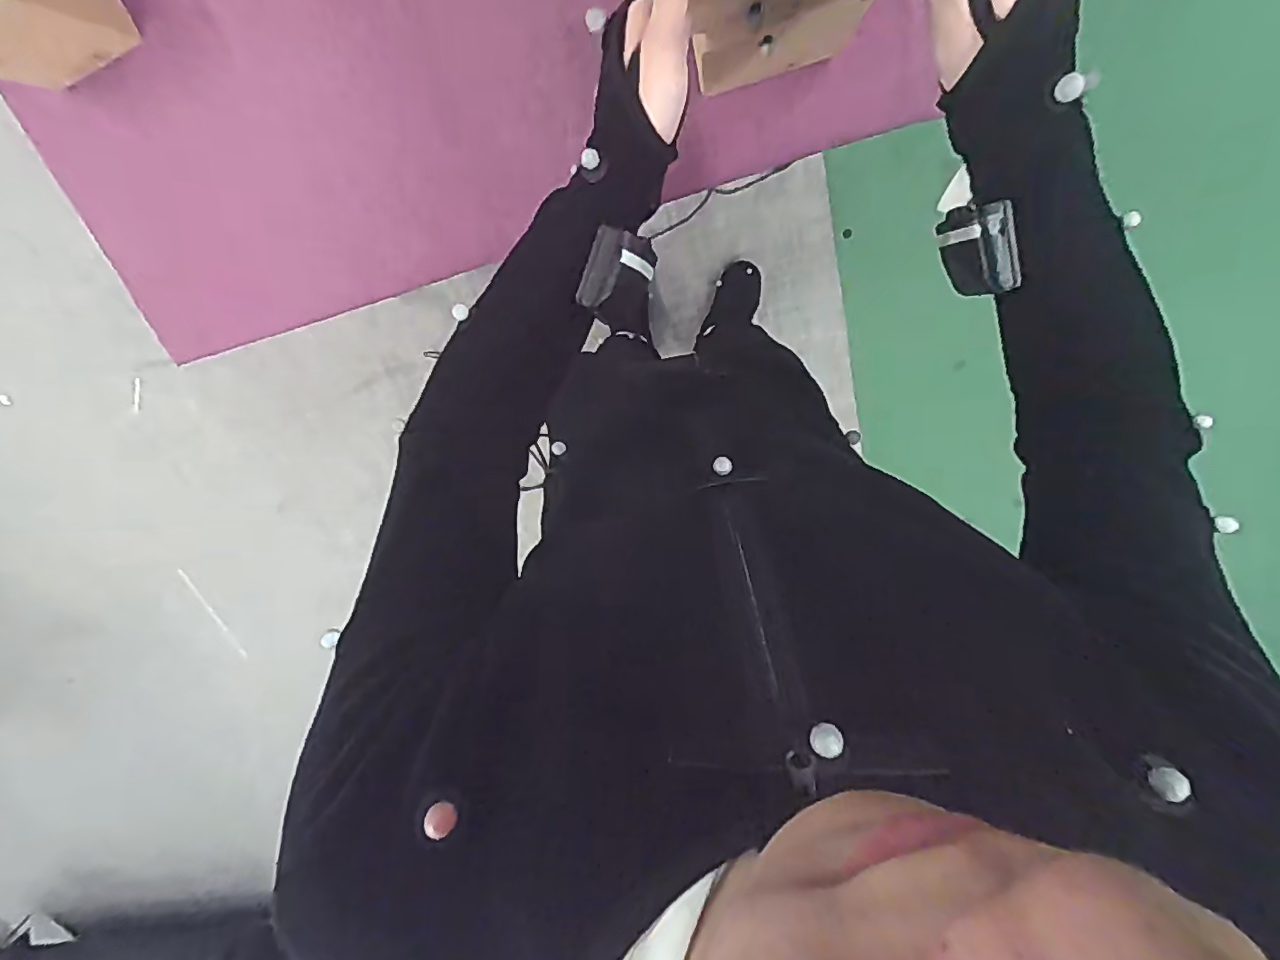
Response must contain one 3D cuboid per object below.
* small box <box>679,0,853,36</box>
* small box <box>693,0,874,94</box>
[{"bbox_3d":[0.101,-0.462,0.383,0.168,0.176,0.179,-7,114,7],"label":"small box"},{"bbox_3d":[0.129,-0.537,0.551,0.168,0.176,0.179,-10,111,12],"label":"small box"}]
